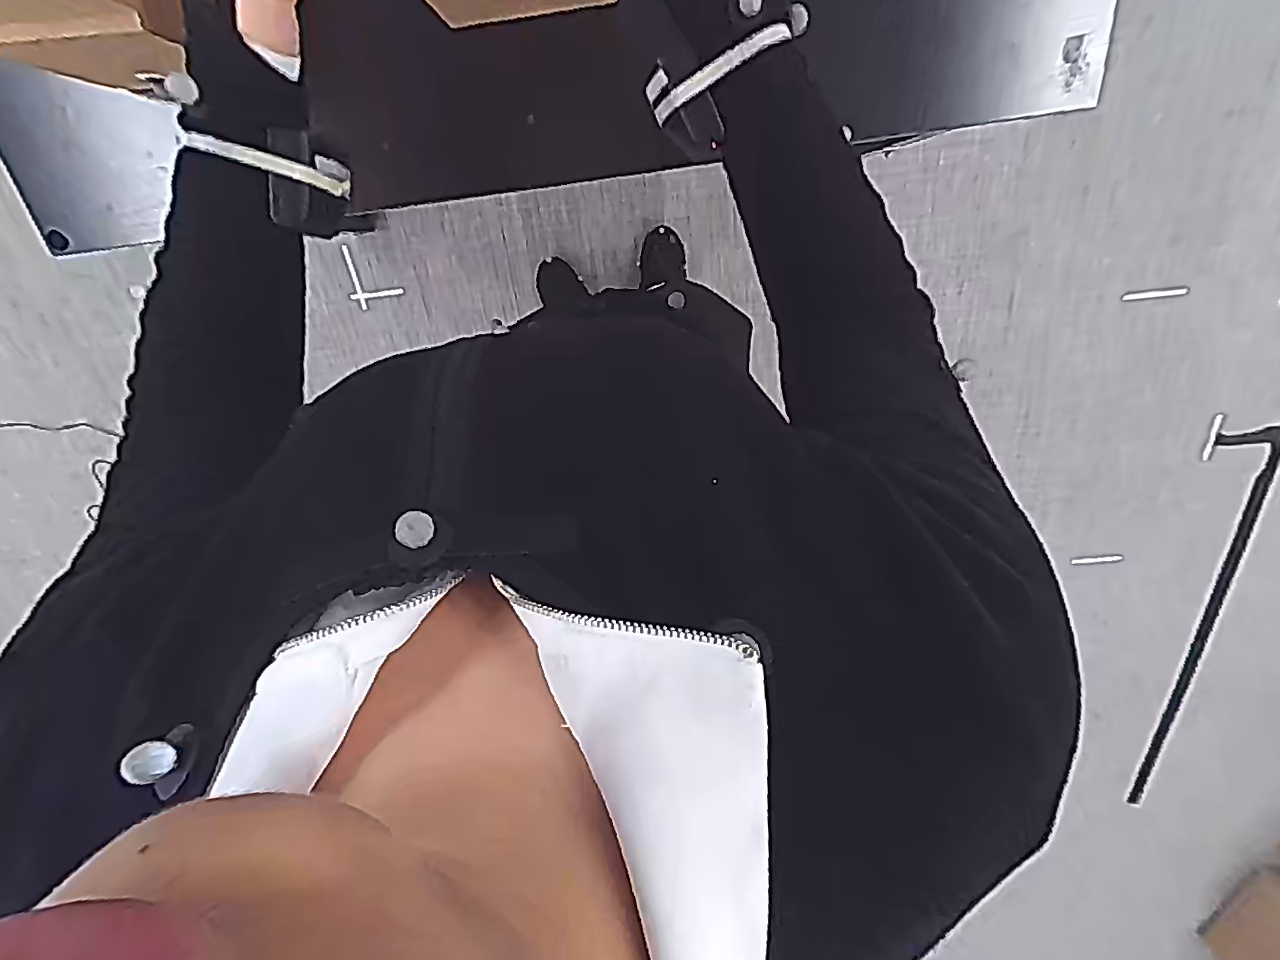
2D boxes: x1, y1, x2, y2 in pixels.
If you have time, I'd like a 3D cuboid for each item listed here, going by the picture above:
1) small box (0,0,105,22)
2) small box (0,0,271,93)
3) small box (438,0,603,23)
[{"bbox_3d":[-0.480,-0.401,0.318,0.179,0.176,0.168,-3,114,3],"label":"small box"},{"bbox_3d":[-0.474,-0.465,0.470,0.168,0.176,0.179,-3,116,2],"label":"small box"},{"bbox_3d":[-0.115,-0.513,0.445,0.179,0.176,0.168,-7,115,2],"label":"small box"}]
